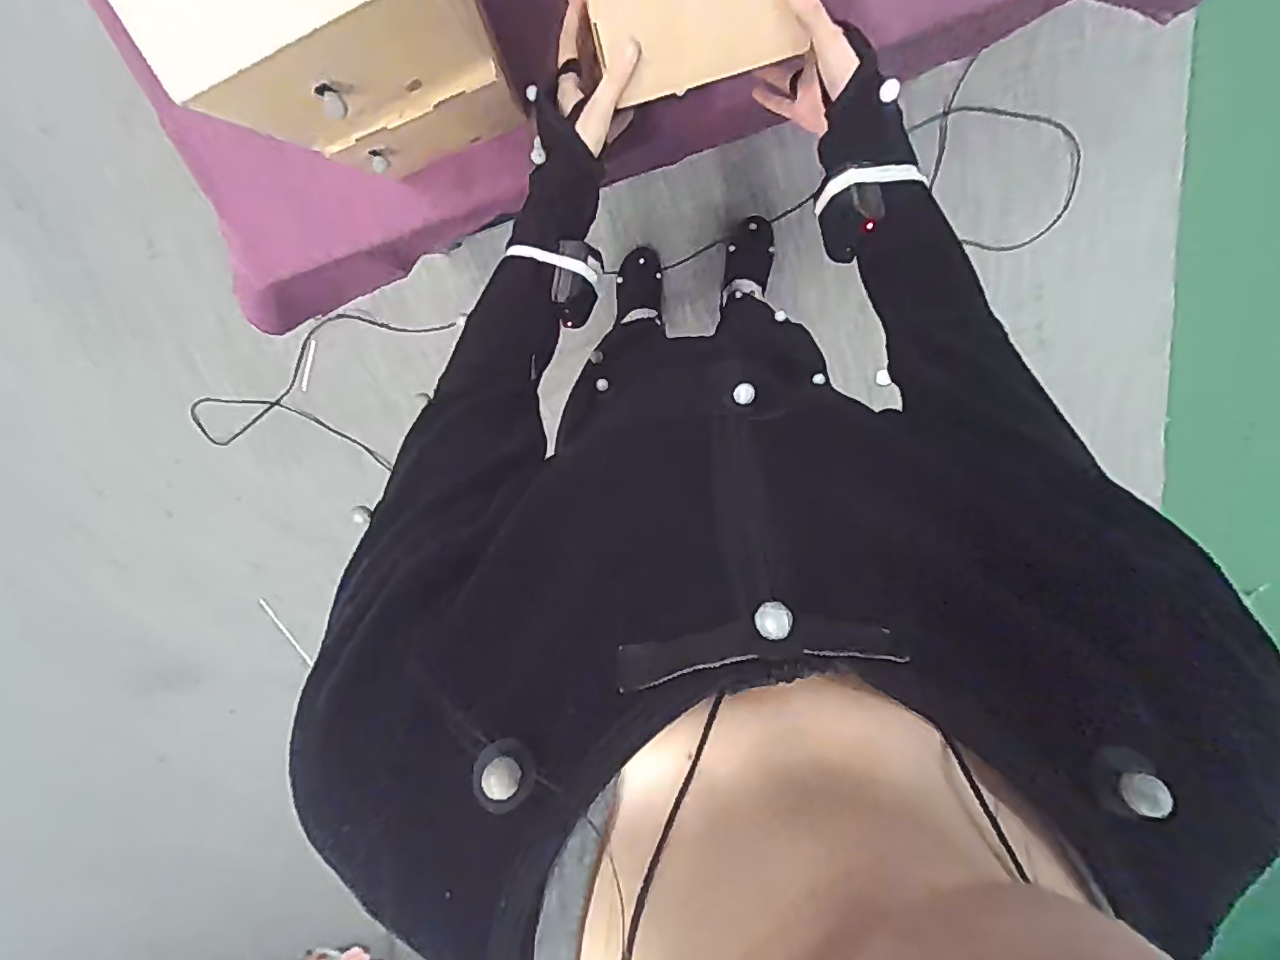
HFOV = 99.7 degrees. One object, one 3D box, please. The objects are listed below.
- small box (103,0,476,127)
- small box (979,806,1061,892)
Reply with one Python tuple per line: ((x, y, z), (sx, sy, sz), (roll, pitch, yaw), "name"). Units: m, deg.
((-0.228, -0.351, 0.337), (0.168, 0.176, 0.179), (-22, 112, 7), "small box")
((1.316, 1.283, 1.887), (0.179, 0.176, 0.168), (-21, 112, 6), "small box")
